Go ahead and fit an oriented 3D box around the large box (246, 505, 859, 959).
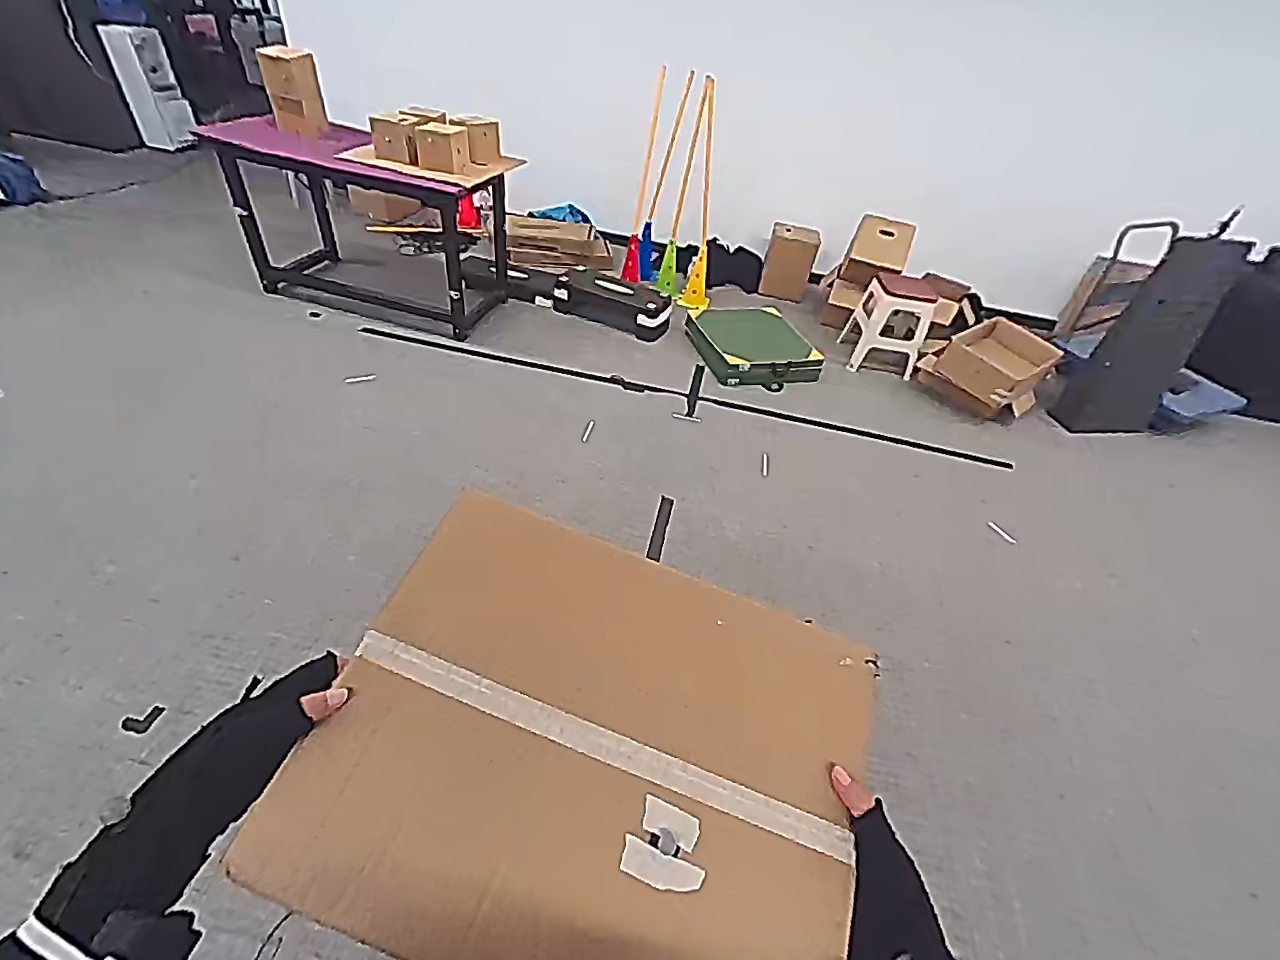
[{"bbox_3d":[-0.055,0.284,0.552,0.408,0.320,0.320,21,59,2],"label":"large box"}]
